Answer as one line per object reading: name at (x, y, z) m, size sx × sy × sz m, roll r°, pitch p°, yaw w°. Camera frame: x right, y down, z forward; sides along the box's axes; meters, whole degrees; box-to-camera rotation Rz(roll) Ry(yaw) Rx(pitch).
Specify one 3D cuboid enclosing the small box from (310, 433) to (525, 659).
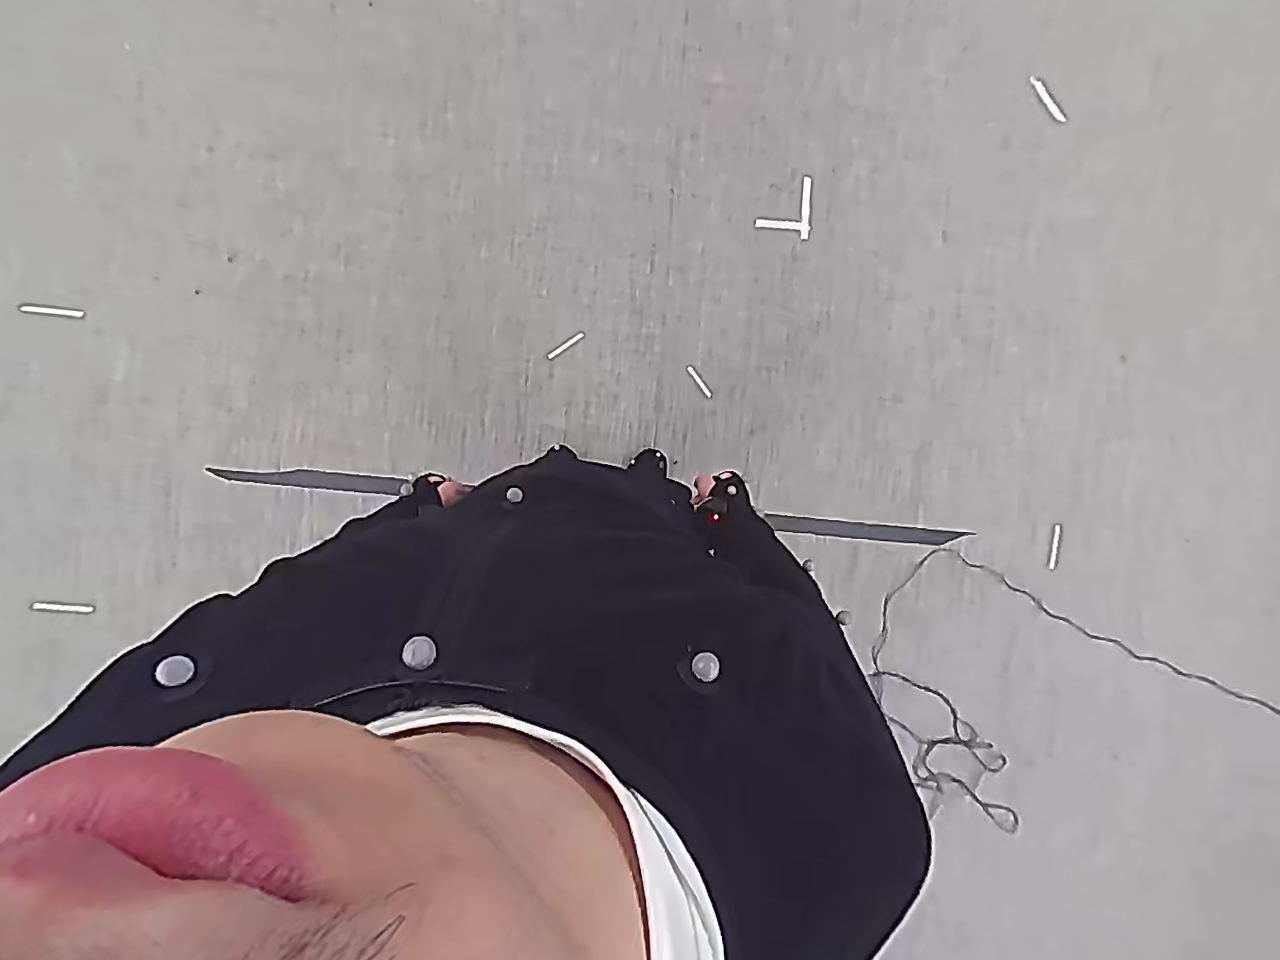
small box at (-0.258, 0.078, 0.664) m, size 0.179 × 0.168 × 0.176 m, roll -32°, pitch 138°, yaw -24°
